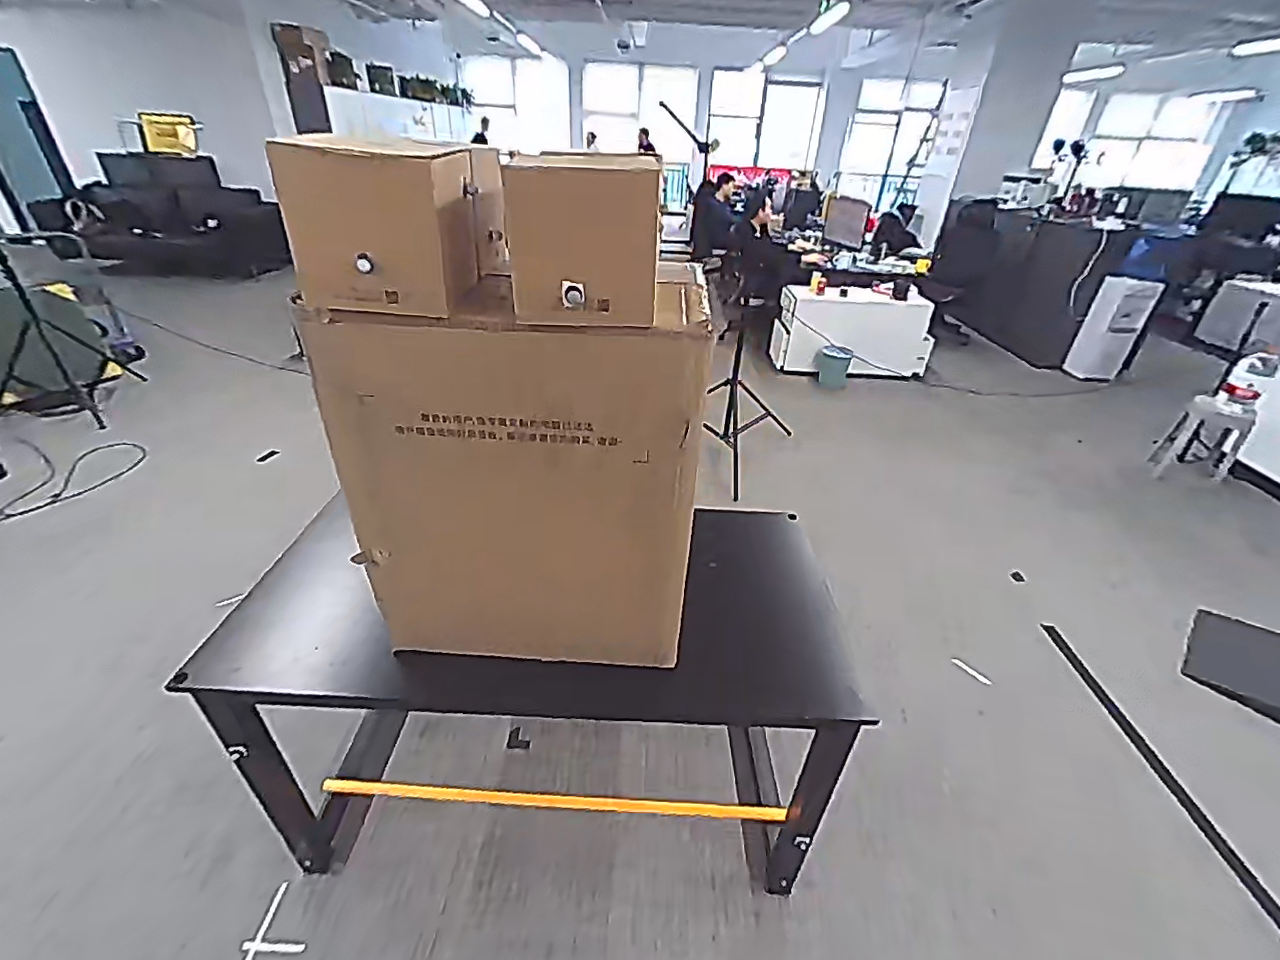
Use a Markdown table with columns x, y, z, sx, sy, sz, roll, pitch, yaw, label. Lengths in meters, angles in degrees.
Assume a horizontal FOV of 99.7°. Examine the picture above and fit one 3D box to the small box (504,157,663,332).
| x | y | z | sx | sy | sz | roll | pitch | yaw | label |
| --- | --- | --- | --- | --- | --- | --- | --- | --- | --- |
| -0.062 | -0.291 | 0.662 | 0.168 | 0.176 | 0.179 | -1 | 35 | -2 | small box |
